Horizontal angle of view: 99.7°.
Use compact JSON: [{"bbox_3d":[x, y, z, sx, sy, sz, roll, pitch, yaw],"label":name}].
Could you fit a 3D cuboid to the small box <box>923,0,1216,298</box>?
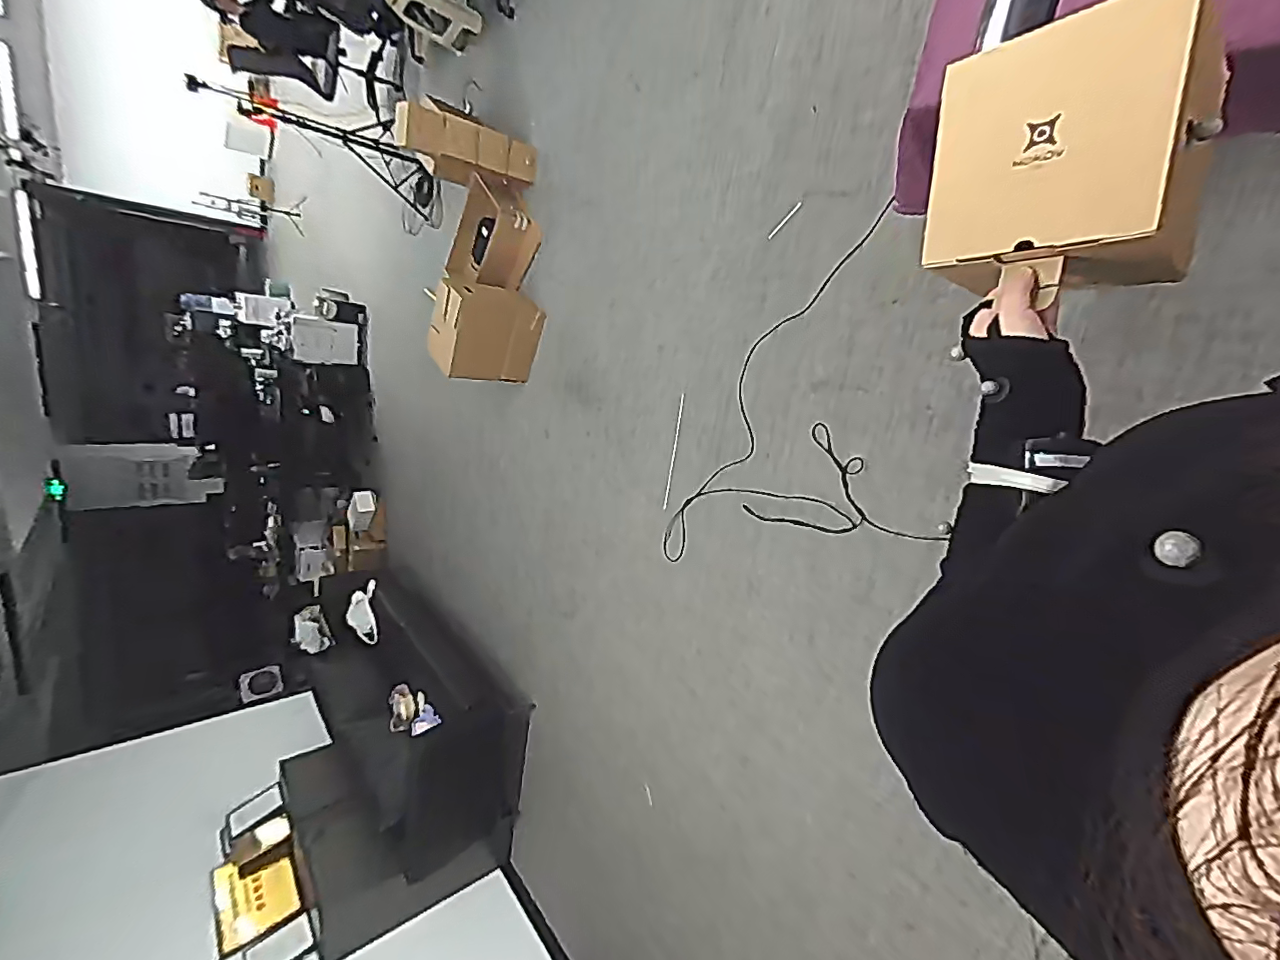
[{"bbox_3d":[0.385,-0.275,0.488,0.168,0.176,0.179,13,103,48],"label":"small box"}]
